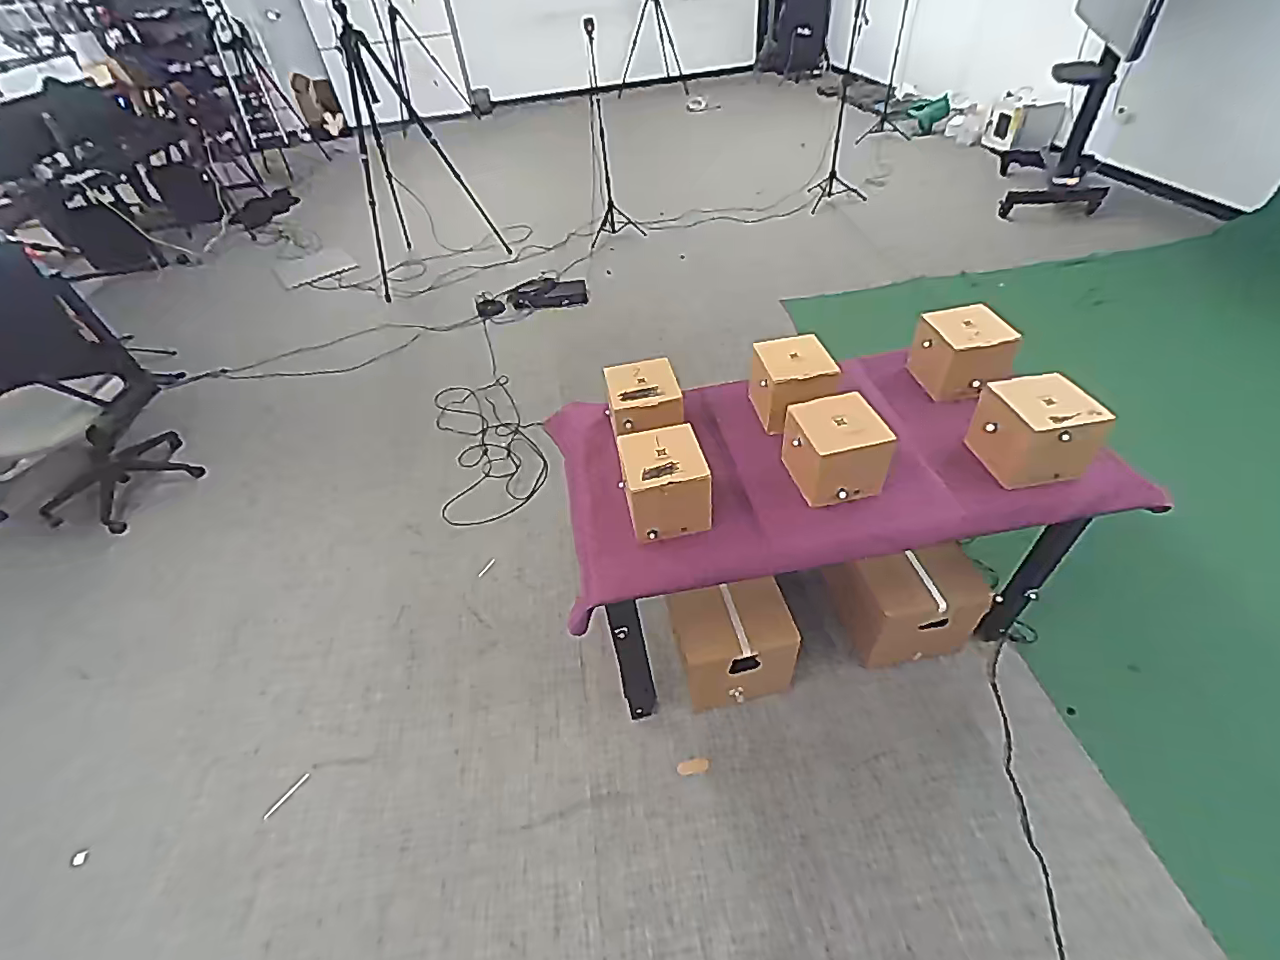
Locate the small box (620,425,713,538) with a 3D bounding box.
[{"bbox_3d":[0.059,0.009,1.174,0.168,0.176,0.179,-11,43,-4],"label":"small box"}]

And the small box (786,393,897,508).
[{"bbox_3d":[0.434,-0.065,1.199,0.168,0.176,0.179,-12,44,-3],"label":"small box"}]

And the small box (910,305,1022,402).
[{"bbox_3d":[0.831,-0.327,1.402,0.168,0.176,0.179,-11,46,0],"label":"small box"}]

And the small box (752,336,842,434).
[{"bbox_3d":[0.391,-0.242,1.386,0.168,0.176,0.179,-10,46,-3],"label":"small box"}]

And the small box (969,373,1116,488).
[{"bbox_3d":[0.858,-0.108,1.178,0.168,0.176,0.179,-10,42,0],"label":"small box"}]

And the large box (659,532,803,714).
[{"bbox_3d":[0.263,0.434,1.663,0.320,0.320,0.408,-11,43,-4],"label":"large box"}]
